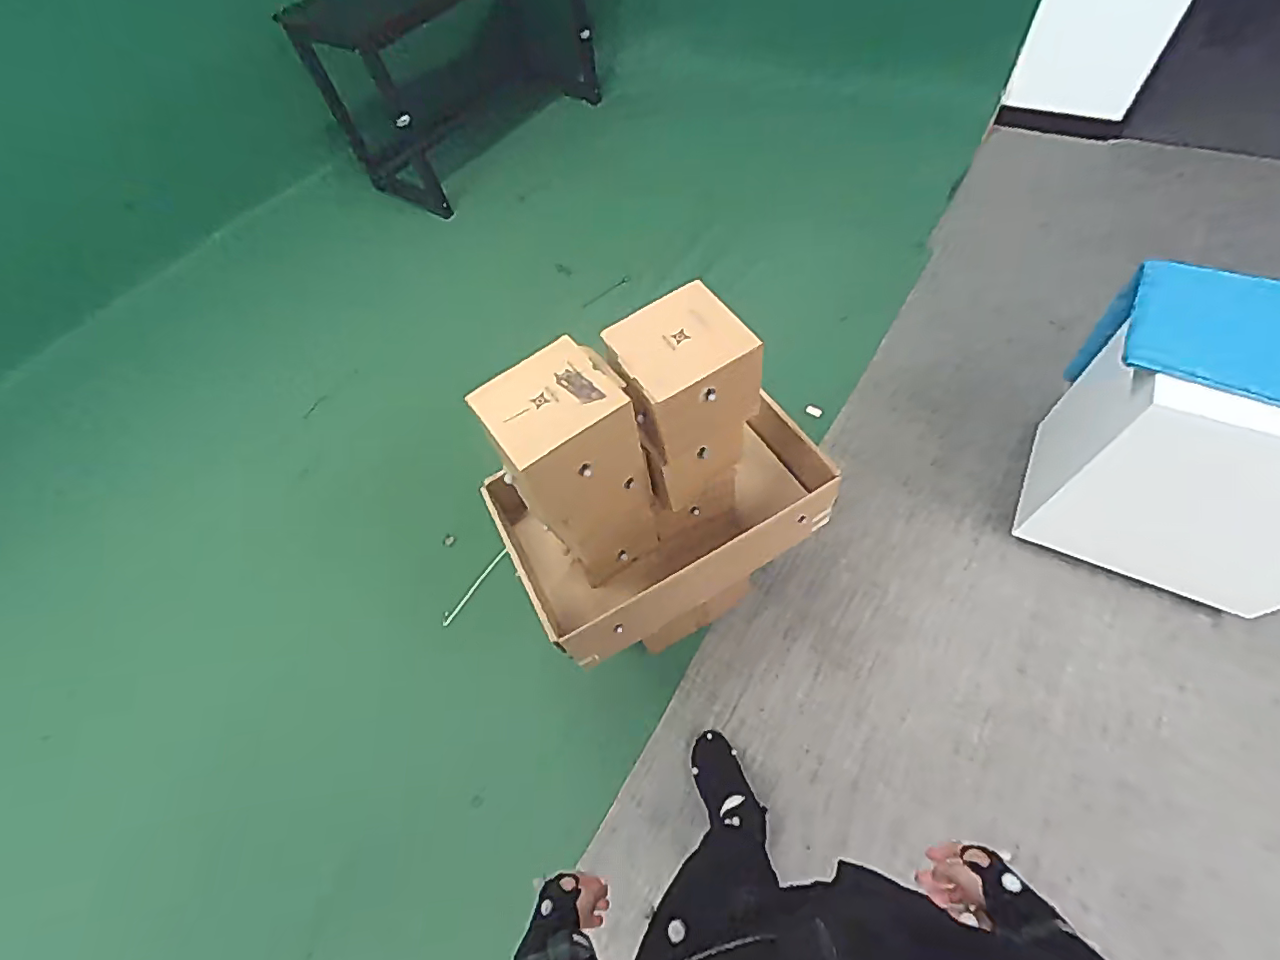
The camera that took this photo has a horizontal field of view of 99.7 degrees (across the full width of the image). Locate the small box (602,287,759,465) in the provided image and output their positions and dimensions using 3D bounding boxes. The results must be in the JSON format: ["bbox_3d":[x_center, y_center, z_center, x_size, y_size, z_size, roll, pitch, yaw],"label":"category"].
[{"bbox_3d":[0.068,-0.153,0.837,0.179,0.176,0.168,-30,59,-7],"label":"small box"}]

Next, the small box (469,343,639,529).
[{"bbox_3d":[-0.116,-0.061,0.803,0.179,0.176,0.168,-35,59,-12],"label":"small box"}]
